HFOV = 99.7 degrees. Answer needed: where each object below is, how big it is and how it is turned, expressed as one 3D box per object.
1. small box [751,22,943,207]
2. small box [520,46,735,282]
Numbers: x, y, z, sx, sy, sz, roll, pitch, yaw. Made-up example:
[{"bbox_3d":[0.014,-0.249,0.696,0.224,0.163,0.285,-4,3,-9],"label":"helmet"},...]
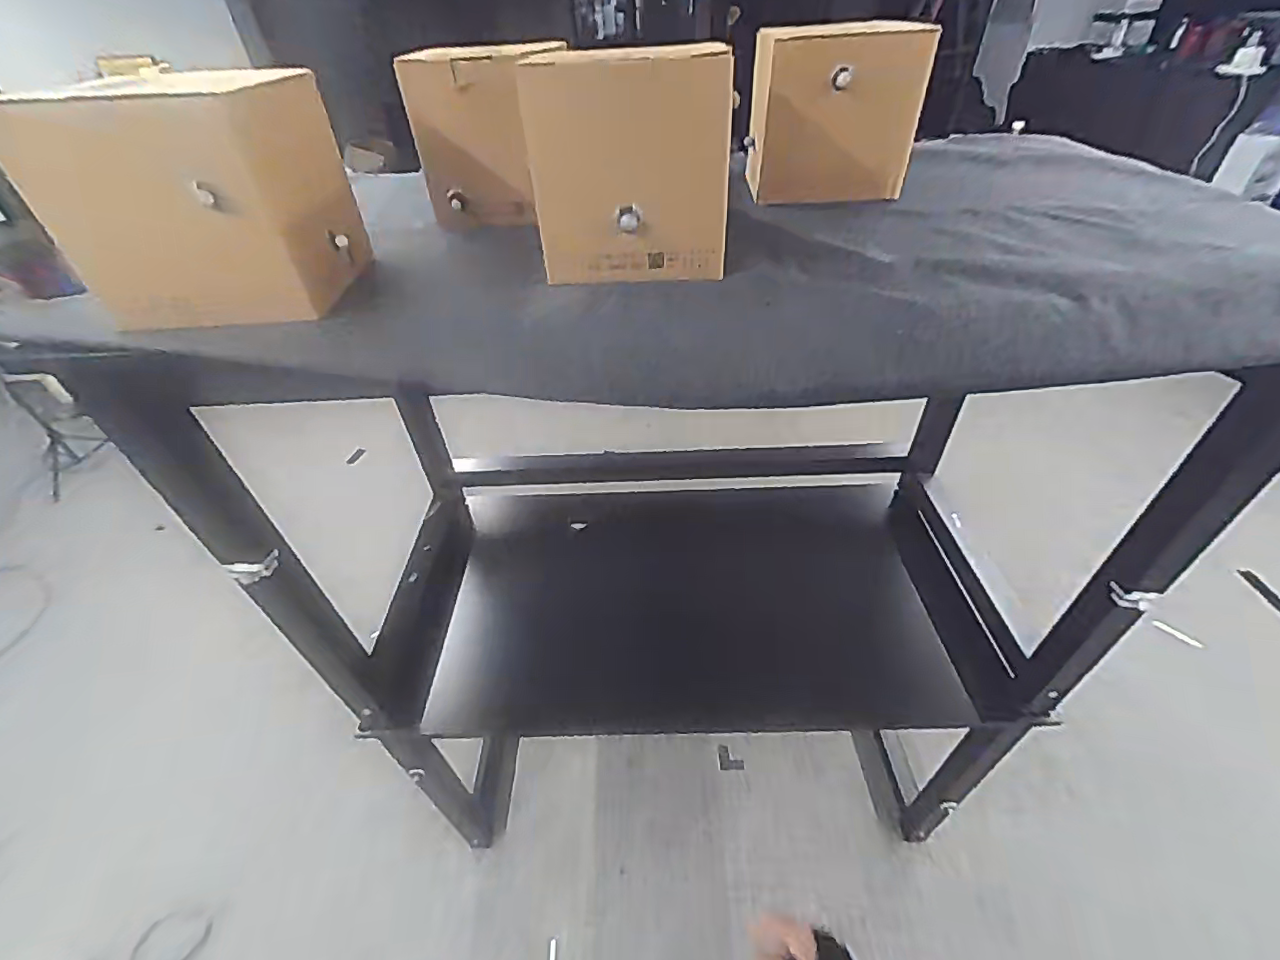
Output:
[{"bbox_3d":[0.240,-0.456,0.678,0.179,0.176,0.168,-1,41,5],"label":"small box"},{"bbox_3d":[-0.002,-0.301,0.516,0.168,0.176,0.179,0,40,5],"label":"small box"}]
